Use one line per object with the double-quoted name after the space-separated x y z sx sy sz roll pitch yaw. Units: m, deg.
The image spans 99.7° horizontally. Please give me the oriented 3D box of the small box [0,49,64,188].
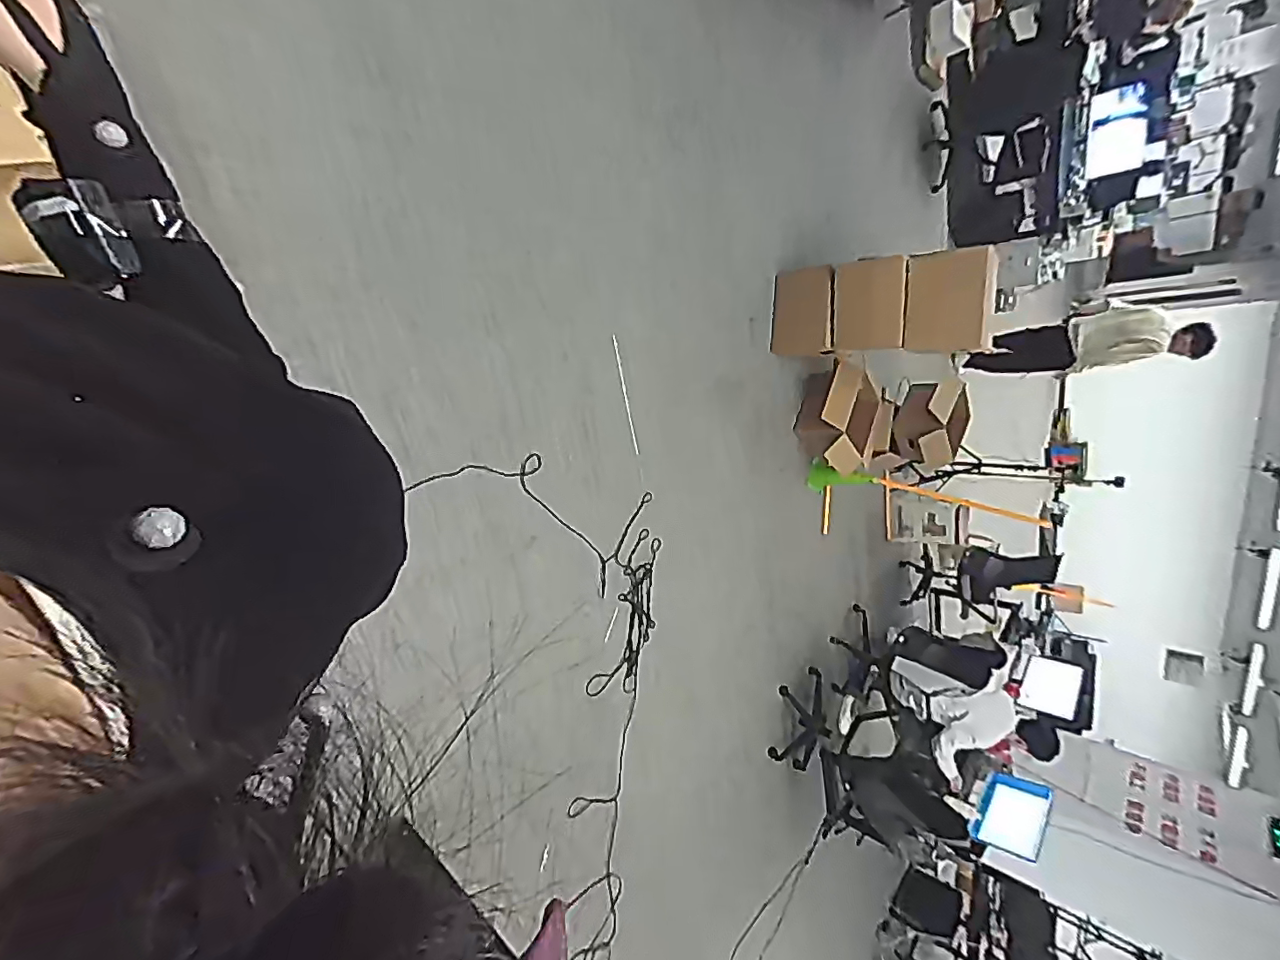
-1.082 -0.575 0.862 0.179 0.176 0.168 -35 120 -37 "small box"
